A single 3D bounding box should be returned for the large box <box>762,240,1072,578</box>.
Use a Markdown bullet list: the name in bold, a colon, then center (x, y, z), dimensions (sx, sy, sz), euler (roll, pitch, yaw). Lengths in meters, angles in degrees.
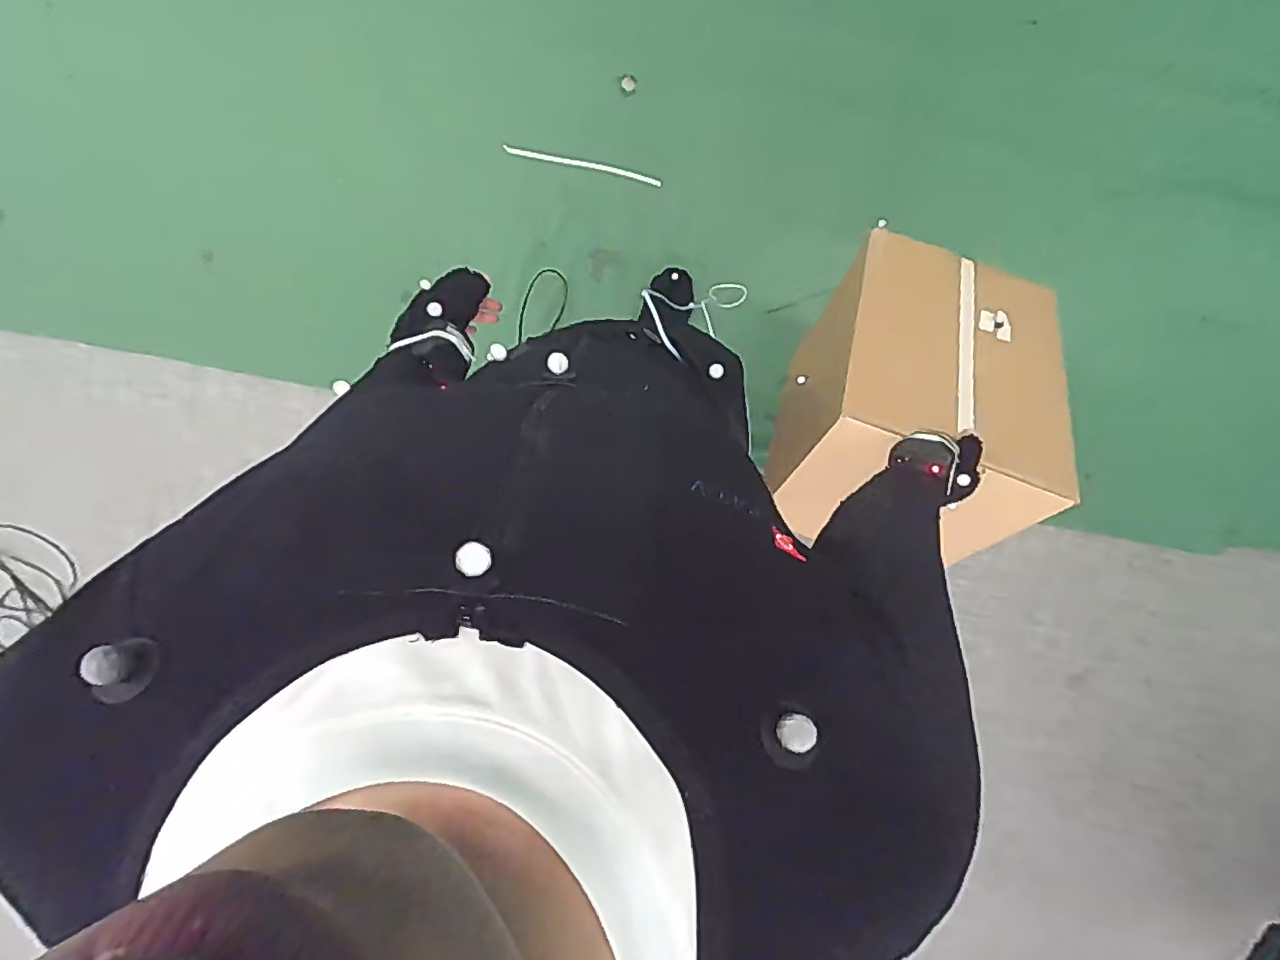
- **large box**: center (0.429, -0.107, 0.900), dimensions (0.320, 0.408, 0.320), euler (21, 149, 0)
